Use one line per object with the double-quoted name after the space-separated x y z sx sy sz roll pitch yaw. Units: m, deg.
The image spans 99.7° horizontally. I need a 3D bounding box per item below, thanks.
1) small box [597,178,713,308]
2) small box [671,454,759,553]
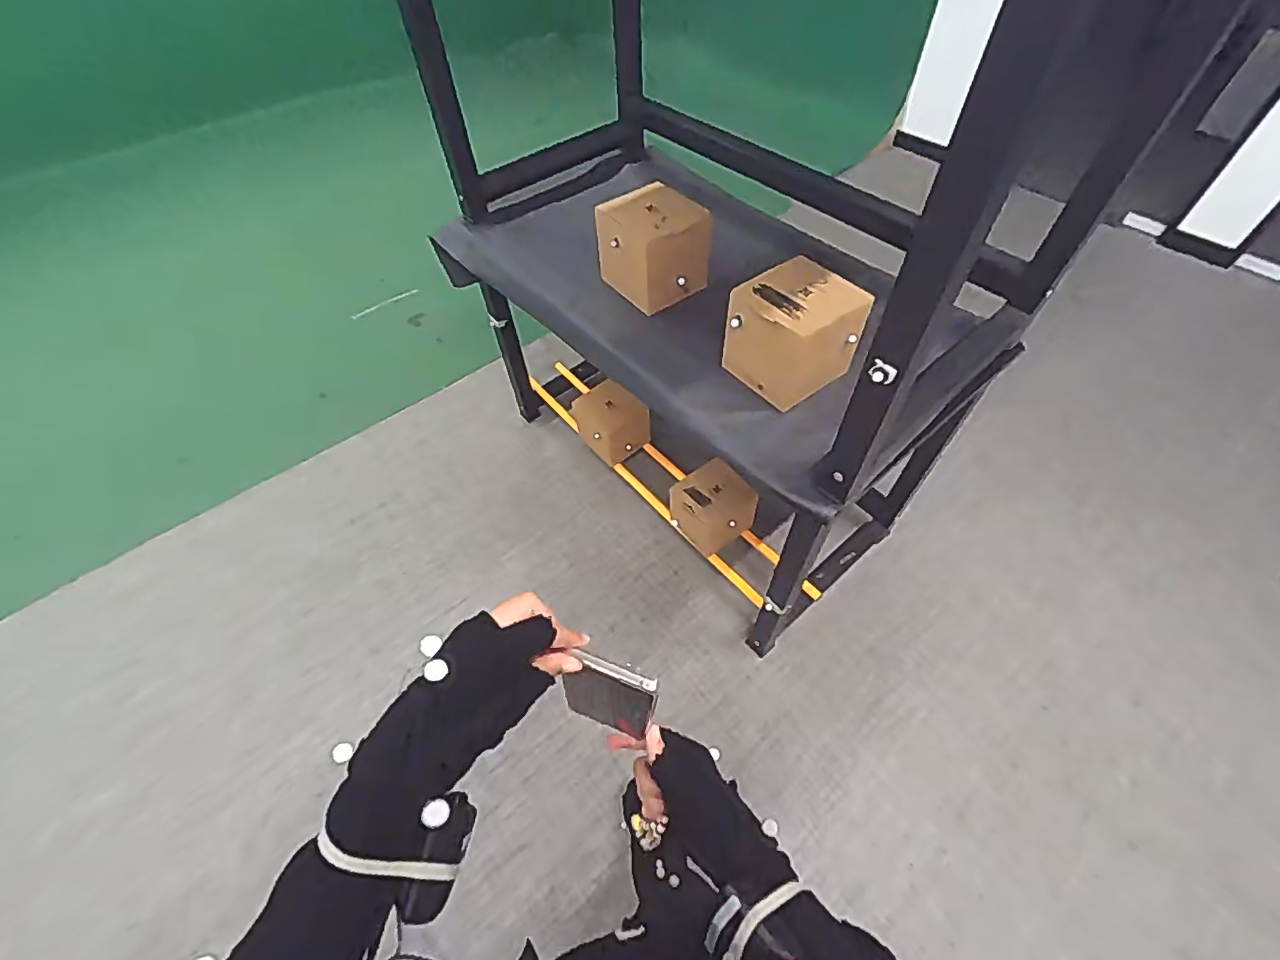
0.029 -0.493 1.130 0.168 0.176 0.179 -32 59 -19 "small box"
0.202 0.070 1.486 0.179 0.176 0.168 -32 59 -19 "small box"
